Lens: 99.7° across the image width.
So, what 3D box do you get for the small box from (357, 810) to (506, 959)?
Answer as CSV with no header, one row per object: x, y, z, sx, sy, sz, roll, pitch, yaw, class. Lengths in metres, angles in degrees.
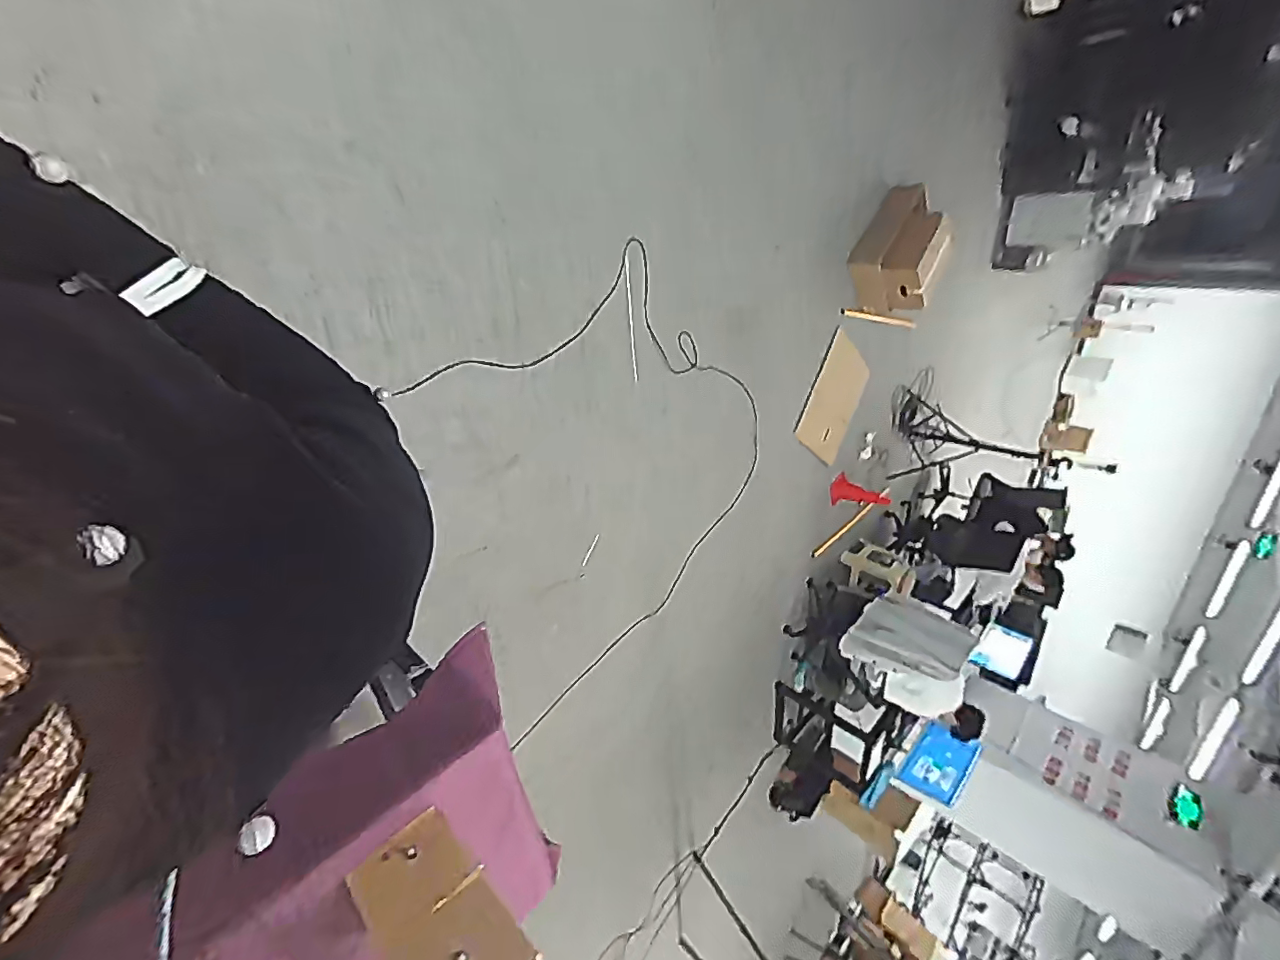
-0.362,0.731,0.944,0.168,0.176,0.179,-28,124,-37,small box
